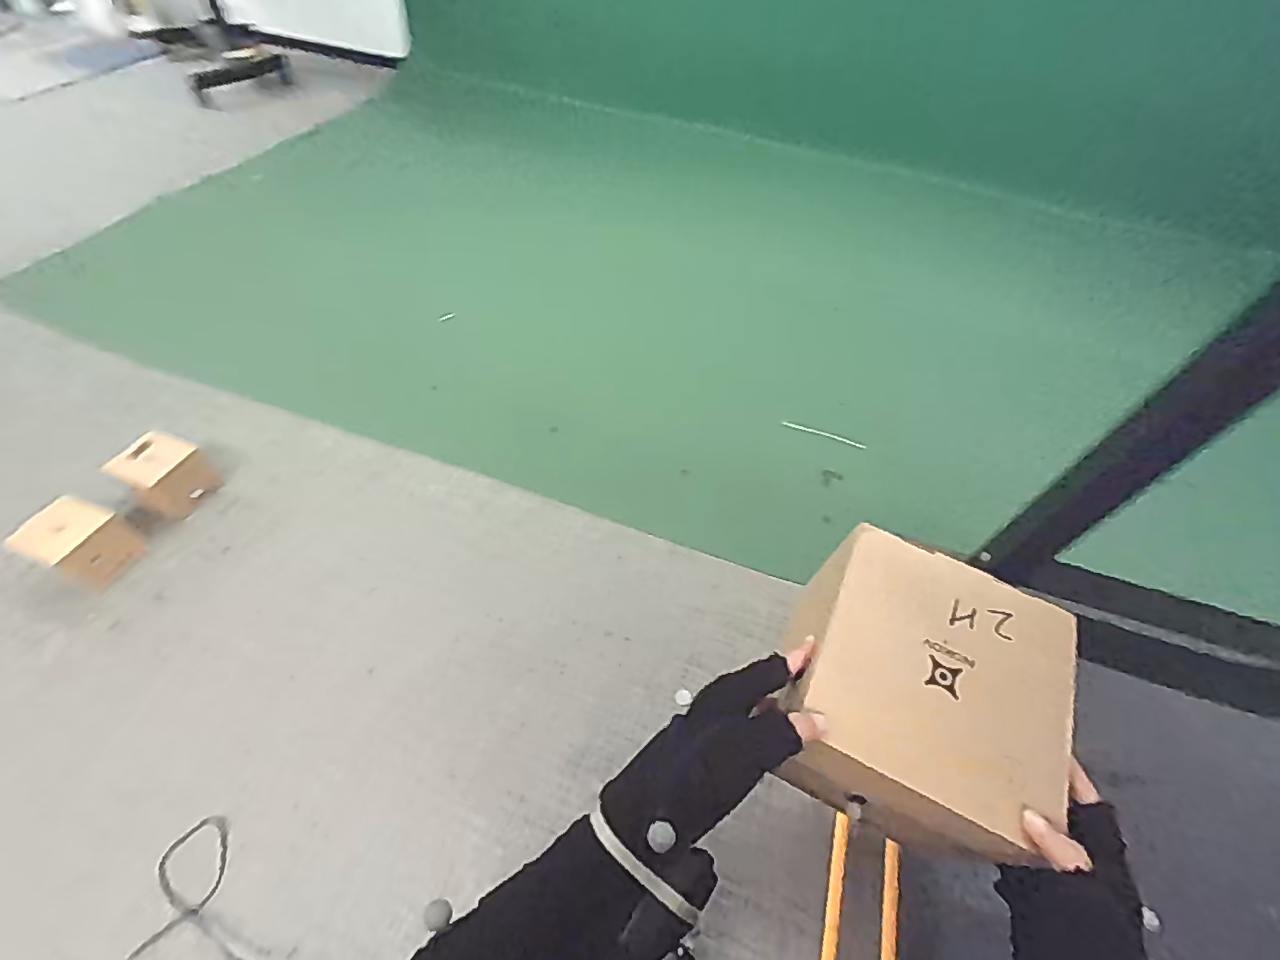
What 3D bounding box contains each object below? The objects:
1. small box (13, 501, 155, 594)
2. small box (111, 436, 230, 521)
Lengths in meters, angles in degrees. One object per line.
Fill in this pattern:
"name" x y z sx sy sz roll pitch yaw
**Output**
"small box" -1.504 0.189 1.478 0.179 0.176 0.168 17 52 9
"small box" -1.407 0.000 1.634 0.179 0.176 0.168 19 53 8
